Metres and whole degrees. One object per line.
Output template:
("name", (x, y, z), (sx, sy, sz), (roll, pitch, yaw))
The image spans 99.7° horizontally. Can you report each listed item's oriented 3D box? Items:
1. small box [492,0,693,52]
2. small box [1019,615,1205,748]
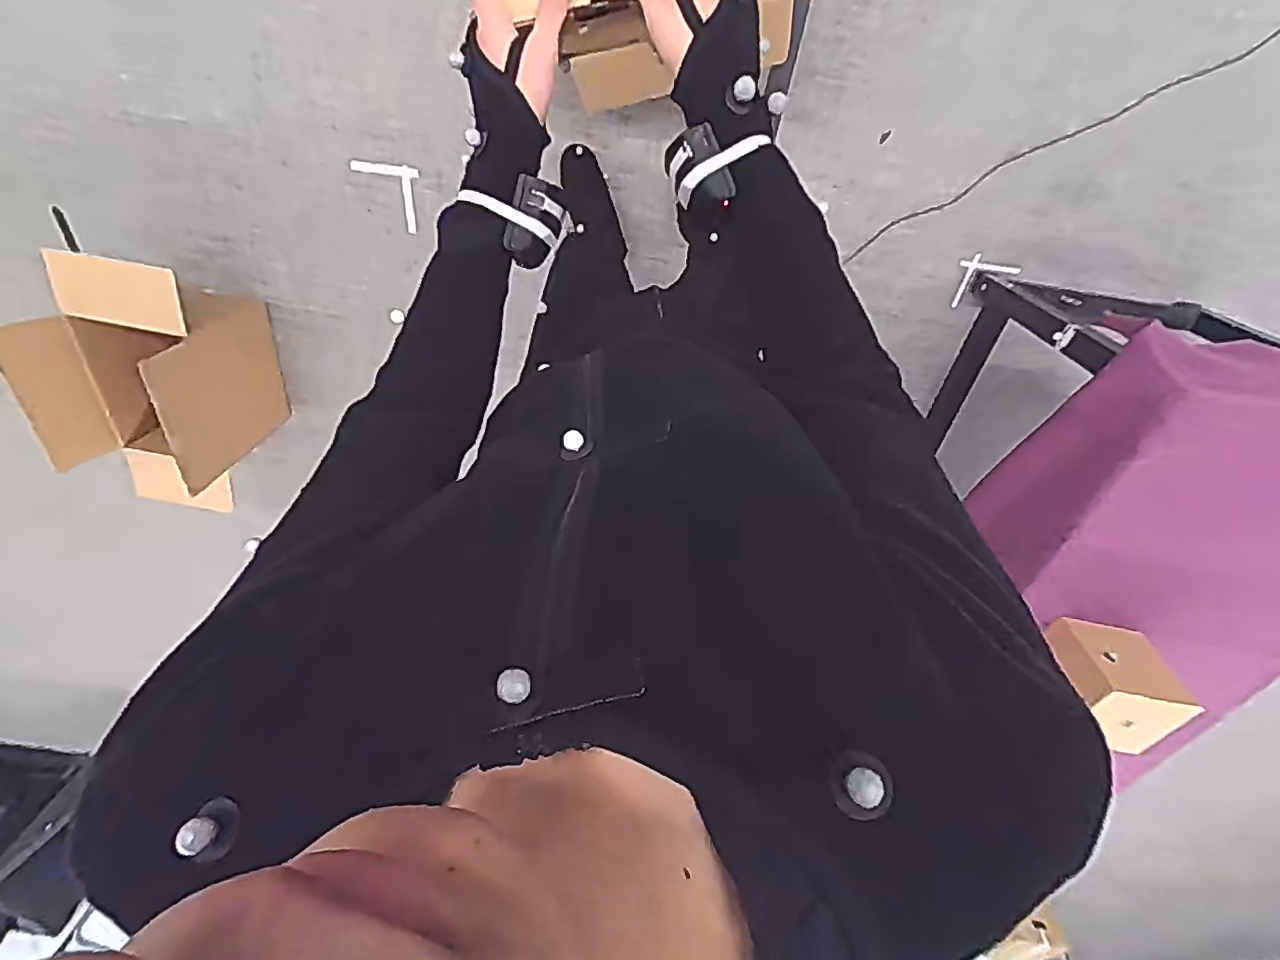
("small box", (-0.043, -0.479, 0.442), (0.168, 0.176, 0.179), (-8, 118, 5))
("small box", (0.893, 0.385, 1.049), (0.179, 0.176, 0.168), (11, 126, -4))
